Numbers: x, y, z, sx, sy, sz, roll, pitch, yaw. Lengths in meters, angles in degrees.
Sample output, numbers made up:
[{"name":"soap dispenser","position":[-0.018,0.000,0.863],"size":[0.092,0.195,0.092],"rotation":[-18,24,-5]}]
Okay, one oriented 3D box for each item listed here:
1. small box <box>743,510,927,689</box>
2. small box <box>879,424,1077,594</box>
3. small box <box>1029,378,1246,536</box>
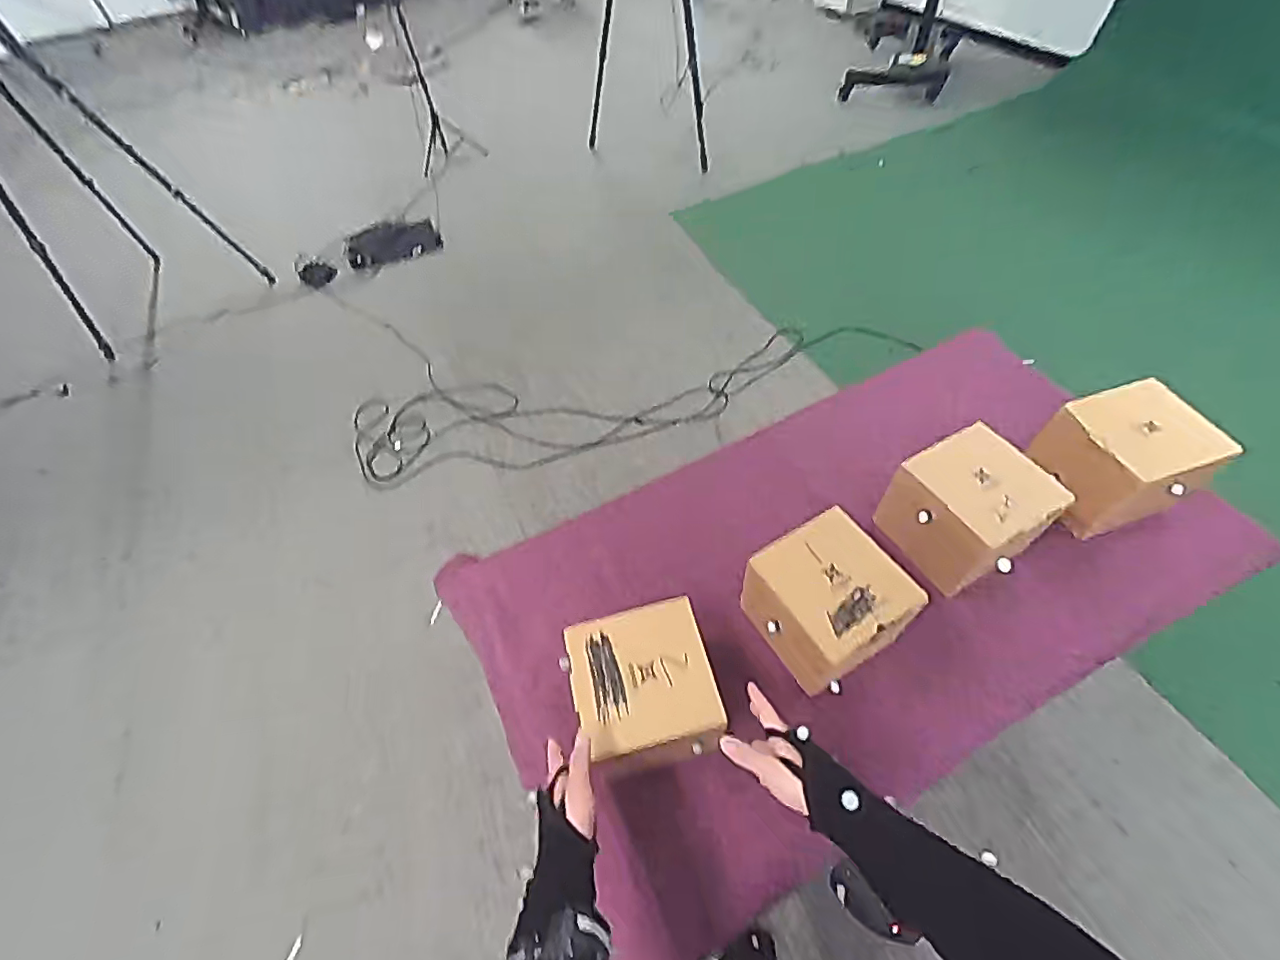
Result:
[{"name":"small box","position":[0.268,0.182,0.788],"size":[0.168,0.176,0.179],"rotation":[-28,56,-14]},{"name":"small box","position":[0.514,0.049,0.857],"size":[0.168,0.176,0.179],"rotation":[-26,57,-11]},{"name":"small box","position":[0.786,-0.033,0.888],"size":[0.179,0.176,0.168],"rotation":[-17,55,-5]}]
